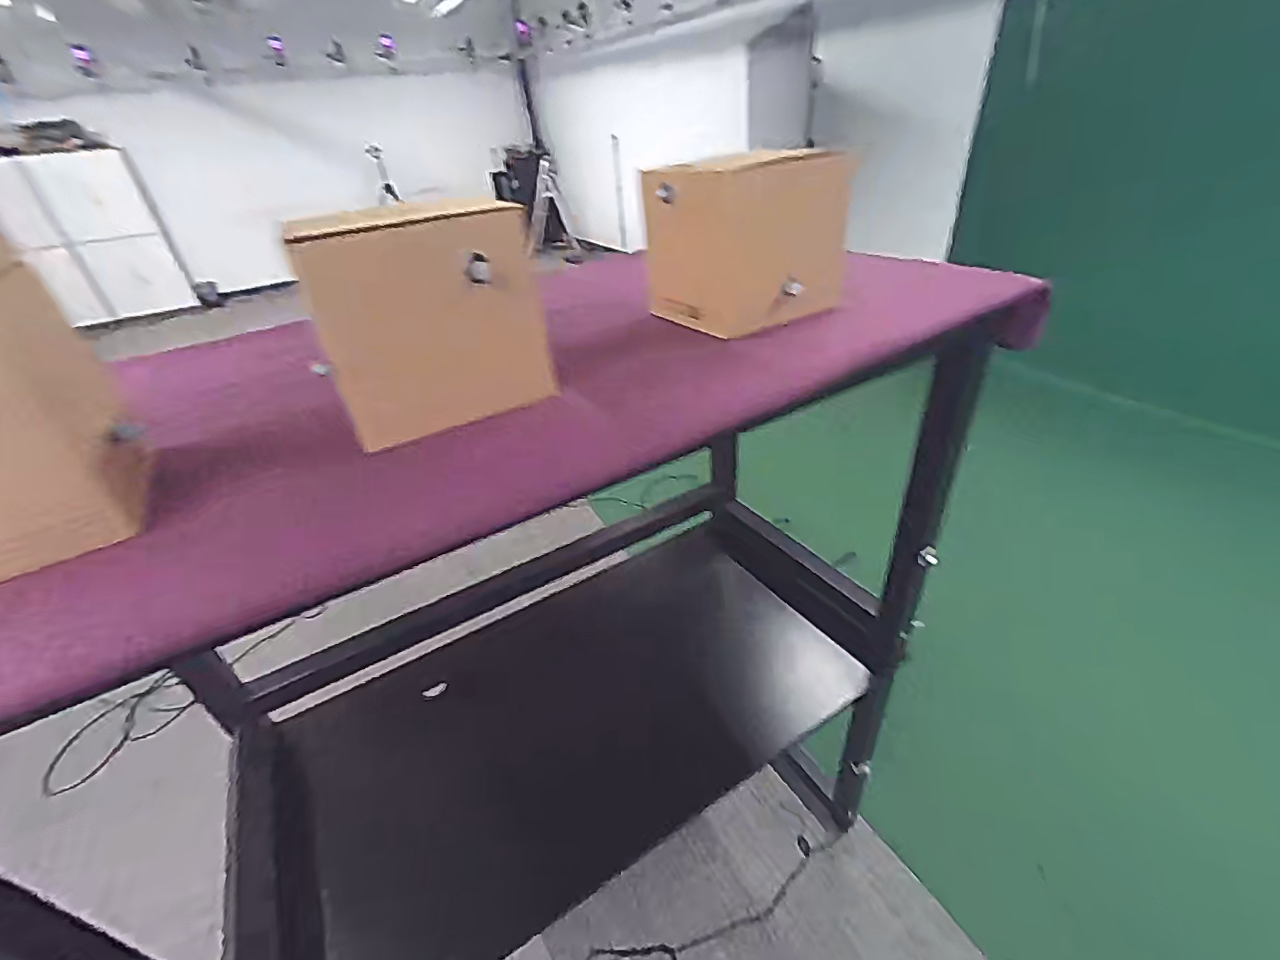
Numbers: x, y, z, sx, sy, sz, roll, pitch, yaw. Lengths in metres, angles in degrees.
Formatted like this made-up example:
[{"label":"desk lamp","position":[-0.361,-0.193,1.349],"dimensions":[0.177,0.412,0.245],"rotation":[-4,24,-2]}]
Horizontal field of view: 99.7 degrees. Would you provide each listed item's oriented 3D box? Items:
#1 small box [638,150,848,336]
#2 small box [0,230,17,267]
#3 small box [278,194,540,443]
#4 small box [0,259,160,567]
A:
[{"label":"small box","position":[0.115,-0.286,0.645],"dimensions":[0.179,0.176,0.168],"rotation":[-22,35,-23]},{"label":"small box","position":[-0.496,-0.173,0.277],"dimensions":[0.168,0.176,0.179],"rotation":[-25,37,-27]},{"label":"small box","position":[-0.204,-0.158,0.503],"dimensions":[0.179,0.176,0.168],"rotation":[-22,36,-22]},{"label":"small box","position":[-0.480,-0.037,0.363],"dimensions":[0.179,0.176,0.168],"rotation":[-24,38,-26]}]
